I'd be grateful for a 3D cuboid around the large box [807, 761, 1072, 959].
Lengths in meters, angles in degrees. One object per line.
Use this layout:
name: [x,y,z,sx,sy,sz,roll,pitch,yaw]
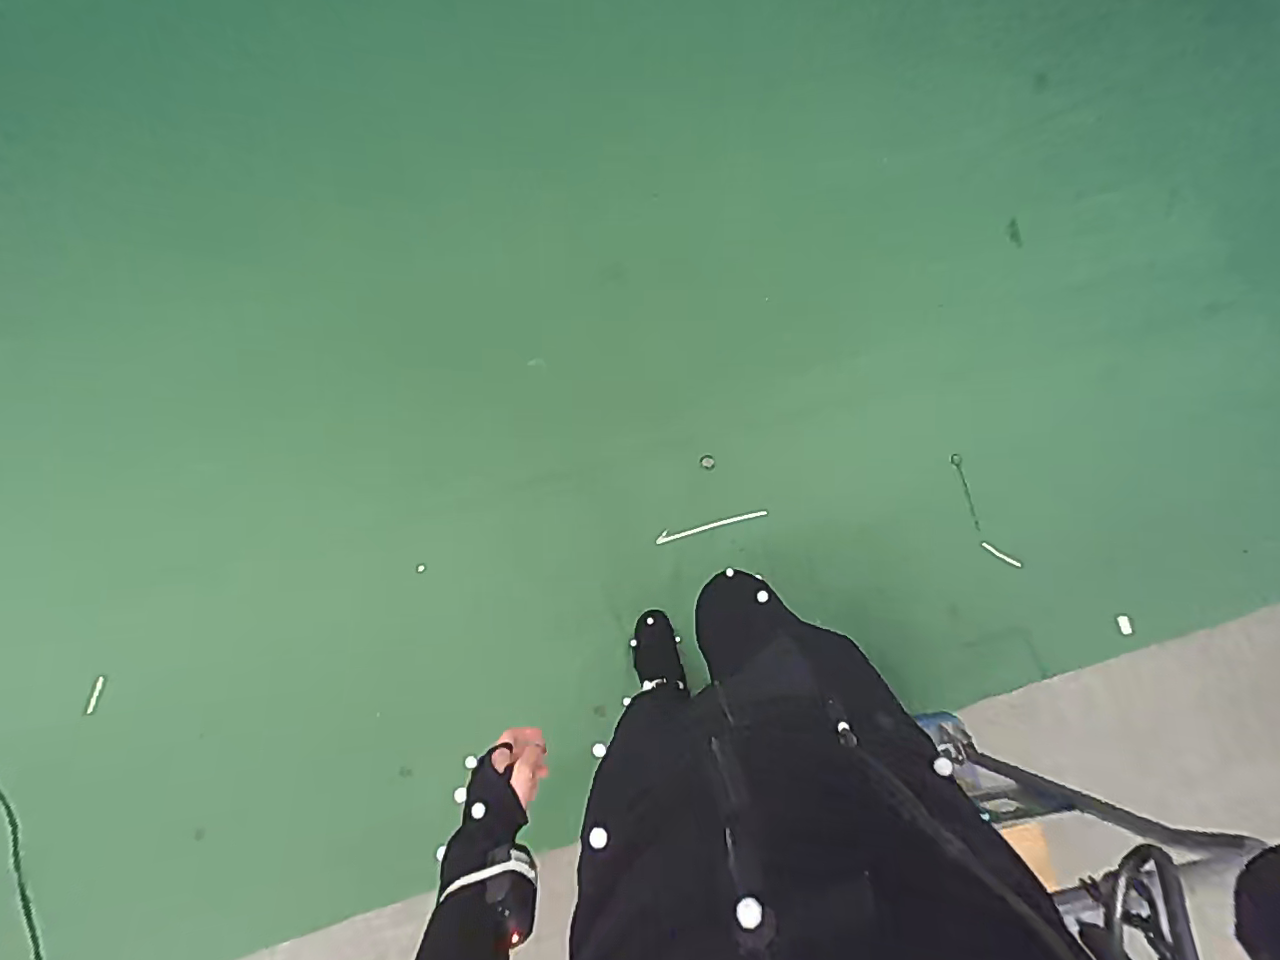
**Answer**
large box: [0.559,0.825,1.041,0.320,0.320,0.408,-8,80,-5]
